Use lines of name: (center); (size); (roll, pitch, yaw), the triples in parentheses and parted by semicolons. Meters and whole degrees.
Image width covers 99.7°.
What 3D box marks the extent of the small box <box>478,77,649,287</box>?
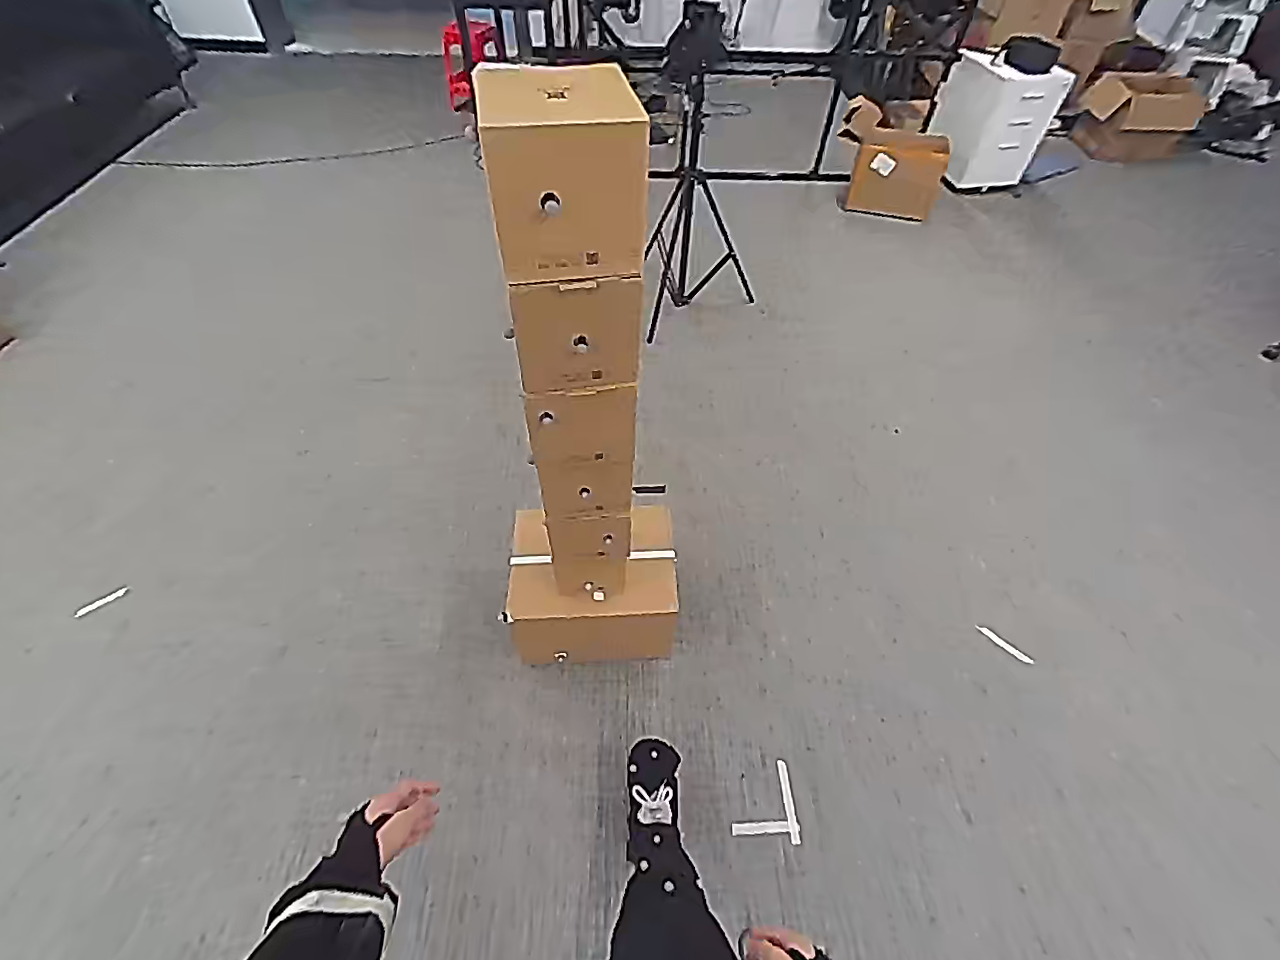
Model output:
small box: (-0.088, -0.341, 0.632); (0.168, 0.176, 0.179); (-9, 52, -9)

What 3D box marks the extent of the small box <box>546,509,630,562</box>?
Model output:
small box: (-0.107, 0.064, 1.147); (0.168, 0.176, 0.179); (-2, 51, -5)

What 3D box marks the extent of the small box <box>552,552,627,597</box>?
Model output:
small box: (-0.116, 0.160, 1.277); (0.168, 0.176, 0.179); (-2, 53, -3)

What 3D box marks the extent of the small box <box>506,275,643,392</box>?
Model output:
small box: (-0.093, -0.239, 0.759); (0.168, 0.176, 0.179); (-8, 54, -10)

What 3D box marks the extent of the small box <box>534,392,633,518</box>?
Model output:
small box: (-0.106, -0.040, 1.019); (0.168, 0.176, 0.179); (-5, 53, -8)
